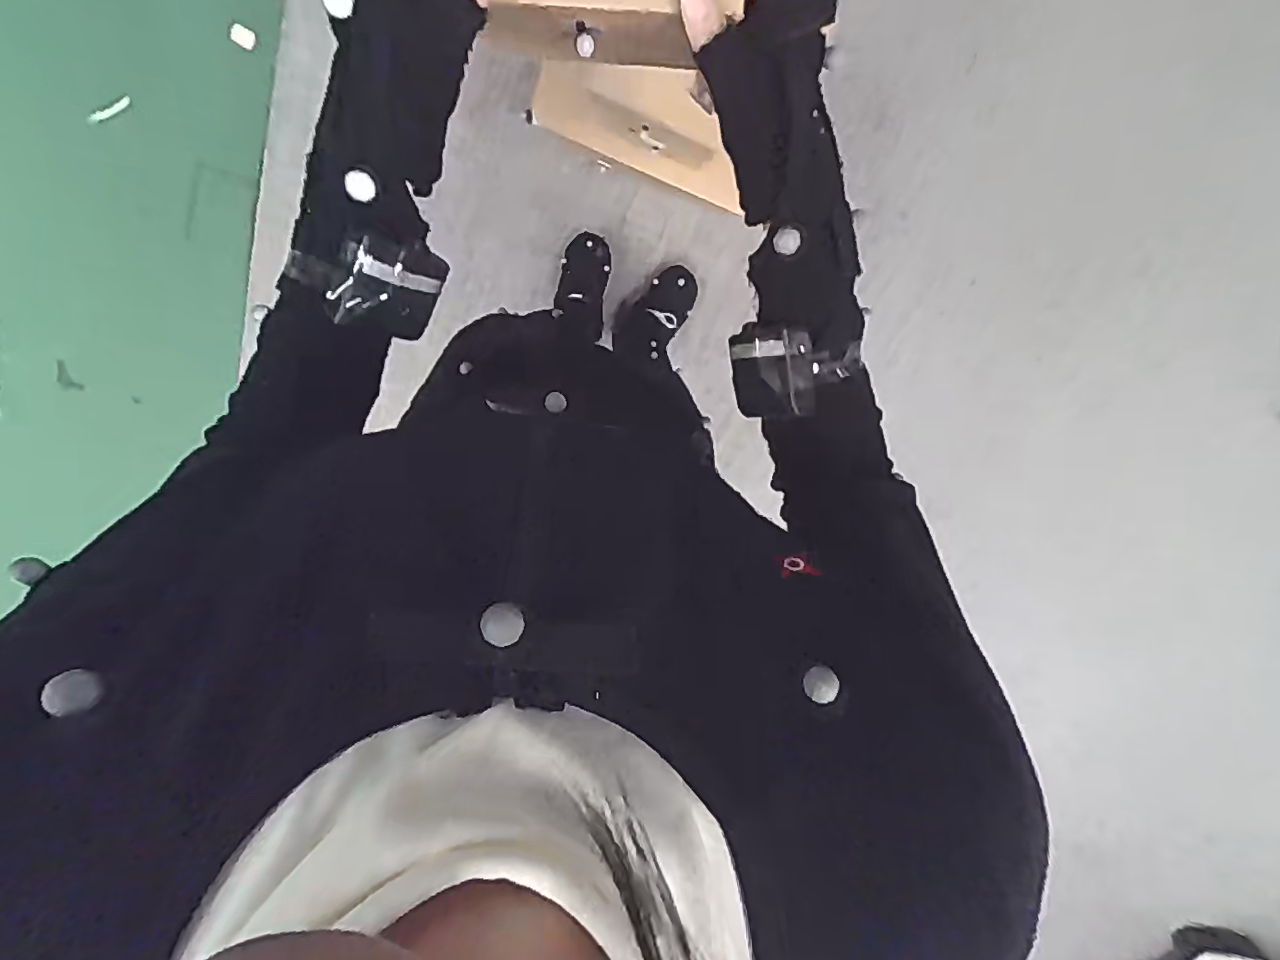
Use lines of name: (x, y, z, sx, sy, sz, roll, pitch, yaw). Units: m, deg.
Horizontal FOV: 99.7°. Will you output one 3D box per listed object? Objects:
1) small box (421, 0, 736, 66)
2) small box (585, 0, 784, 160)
small box: (-0.024, -0.359, 0.318, 0.179, 0.176, 0.168, 5, 120, 4)
small box: (0.050, -0.509, 0.655, 0.179, 0.176, 0.168, 19, 115, -5)
